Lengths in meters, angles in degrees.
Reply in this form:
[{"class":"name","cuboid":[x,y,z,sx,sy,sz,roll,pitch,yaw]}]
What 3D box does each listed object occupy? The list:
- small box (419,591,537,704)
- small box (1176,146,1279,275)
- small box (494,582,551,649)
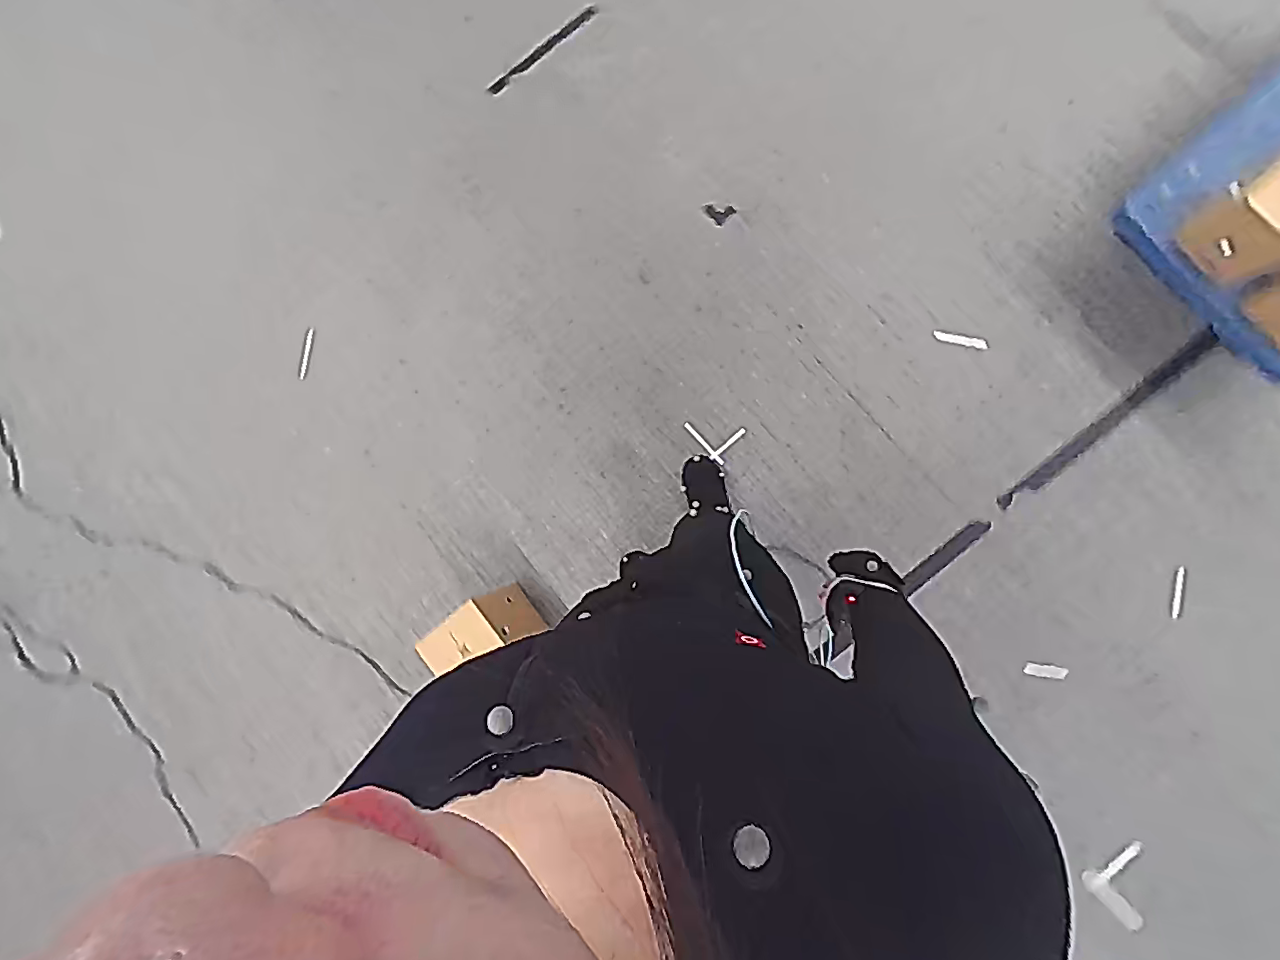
[{"class":"small box","cuboid":[-0.369,0.381,1.268,0.168,0.176,0.179,-40,83,1]},{"class":"small box","cuboid":[1.354,-0.590,1.187,0.179,0.176,0.168,-42,86,0]},{"class":"small box","cuboid":[-0.360,0.392,1.432,0.168,0.176,0.179,-39,85,1]}]
